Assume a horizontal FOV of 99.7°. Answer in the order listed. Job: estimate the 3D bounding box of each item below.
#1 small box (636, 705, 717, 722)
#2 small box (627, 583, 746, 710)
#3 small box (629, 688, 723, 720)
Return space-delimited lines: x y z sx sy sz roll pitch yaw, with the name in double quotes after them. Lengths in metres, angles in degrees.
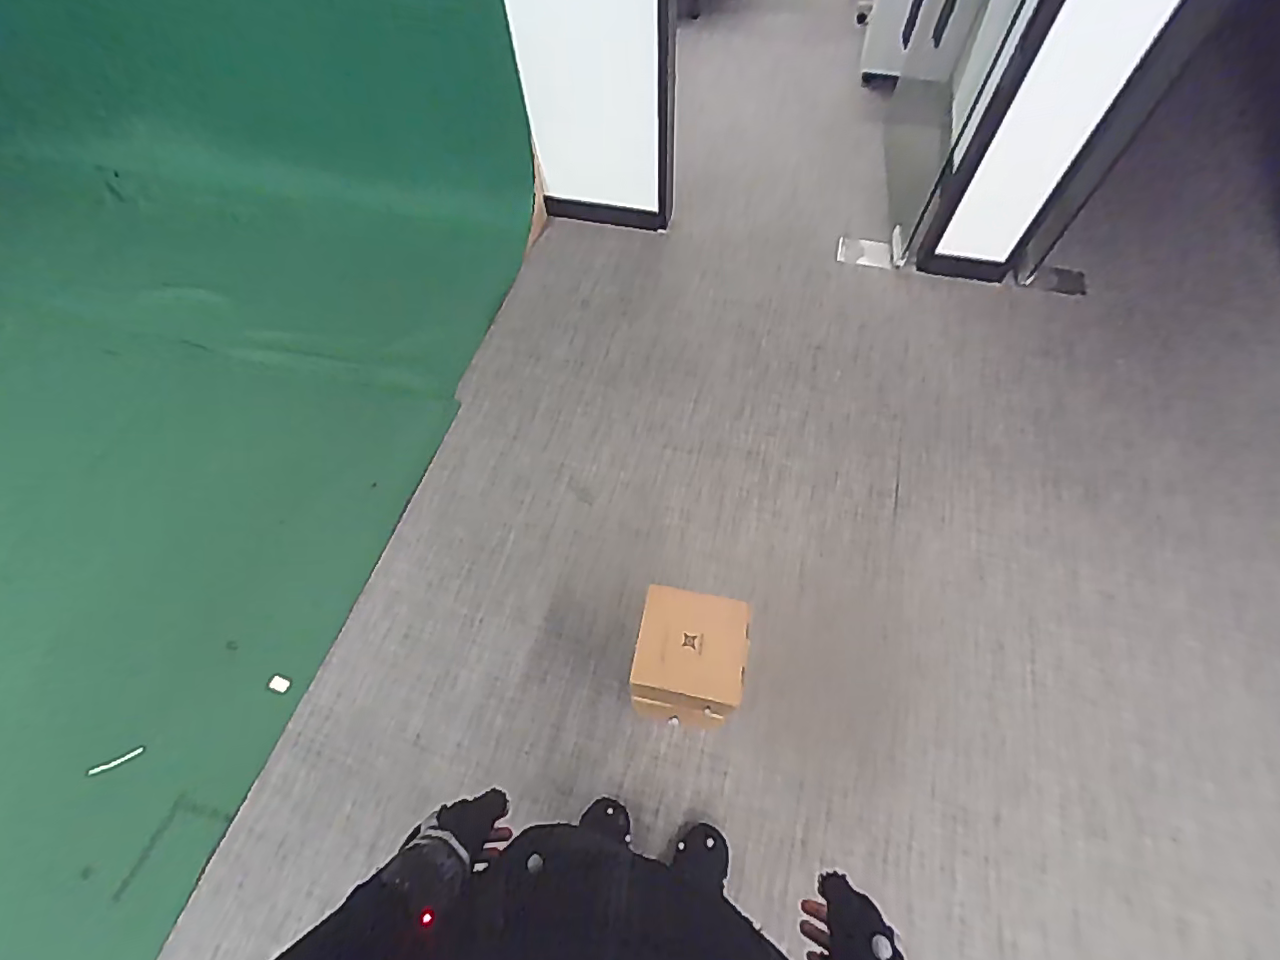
0.087 0.453 1.237 0.179 0.176 0.168 6 62 4 "small box"
0.082 0.299 0.951 0.179 0.176 0.168 8 61 7 "small box"
0.081 0.379 1.092 0.179 0.176 0.168 10 62 7 "small box"
